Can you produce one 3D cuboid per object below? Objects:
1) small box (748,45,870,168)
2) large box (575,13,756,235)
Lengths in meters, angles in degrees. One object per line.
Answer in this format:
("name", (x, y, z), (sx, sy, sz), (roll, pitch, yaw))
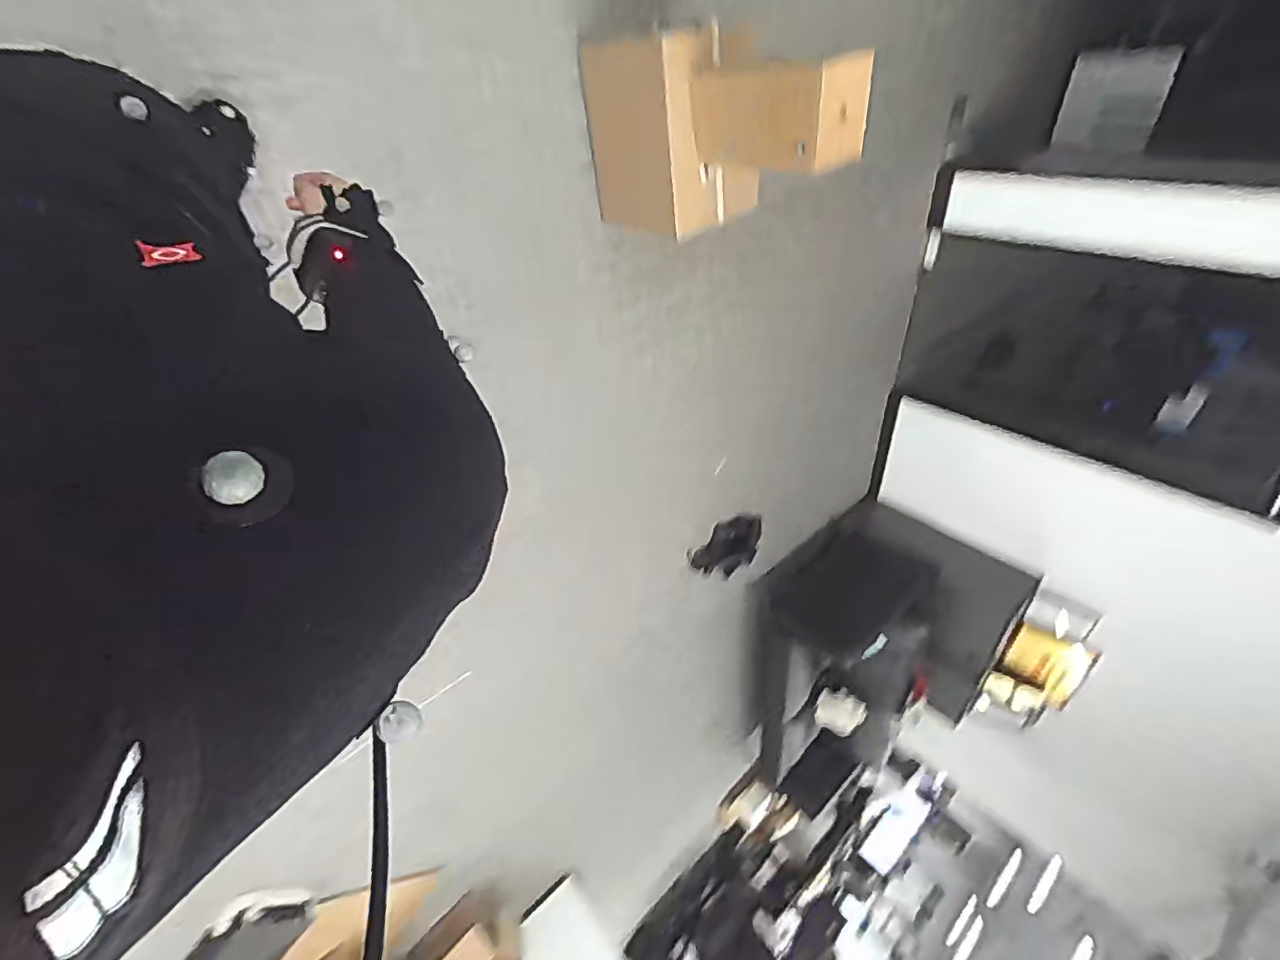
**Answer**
("small box", (0.333, -0.754, 1.095), (0.168, 0.176, 0.179), (-34, 137, -25))
("large box", (0.075, -0.899, 1.377), (0.320, 0.320, 0.408), (-32, 136, -25))
